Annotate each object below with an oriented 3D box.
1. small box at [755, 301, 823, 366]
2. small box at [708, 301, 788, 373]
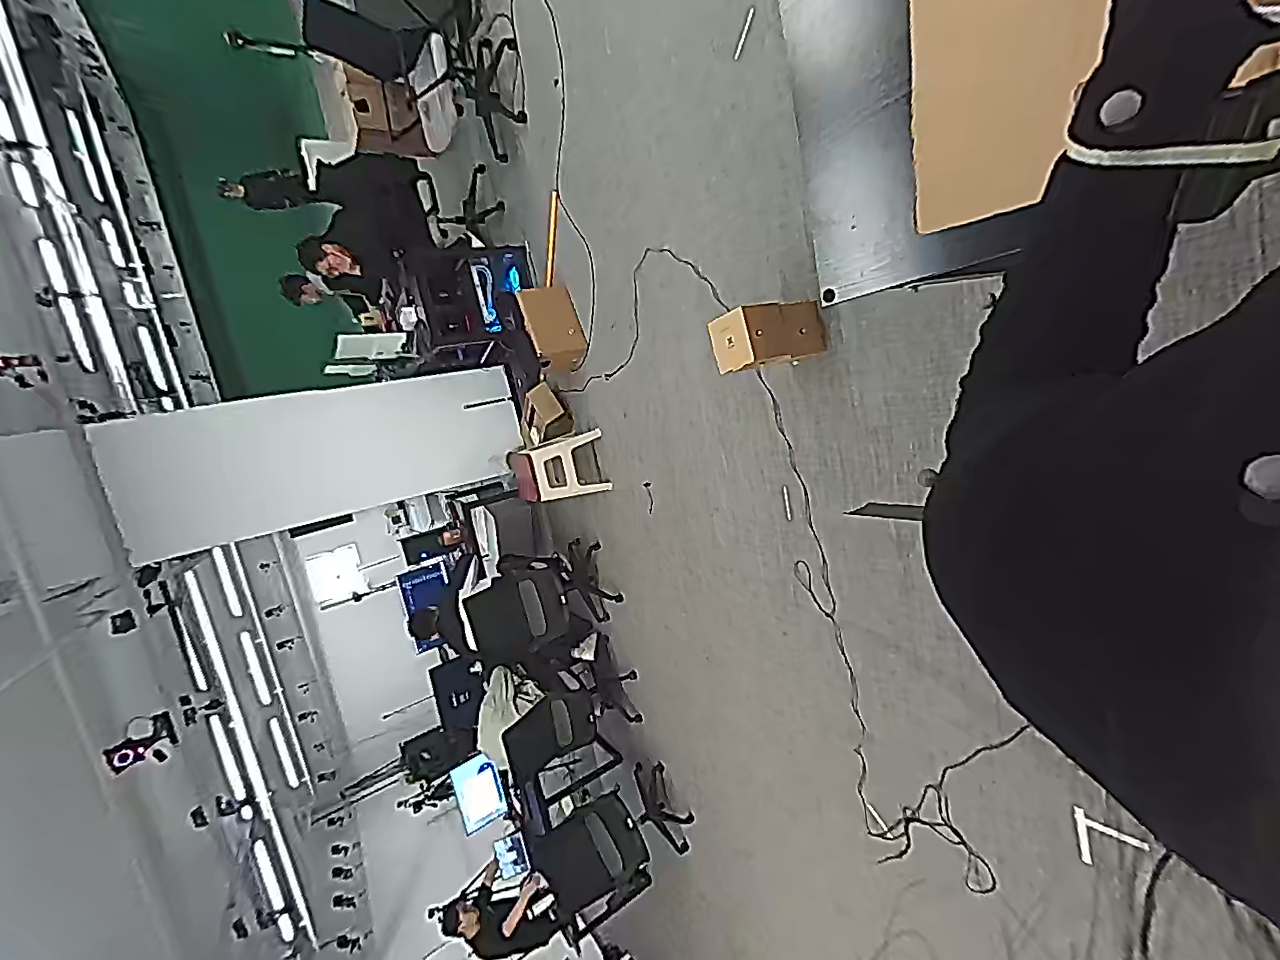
[{"bbox_3d":[0.487,-0.495,1.821,0.168,0.176,0.179,-4,101,59],"label":"small box"},{"bbox_3d":[0.351,-0.460,1.740,0.168,0.176,0.179,-11,94,58],"label":"small box"}]
